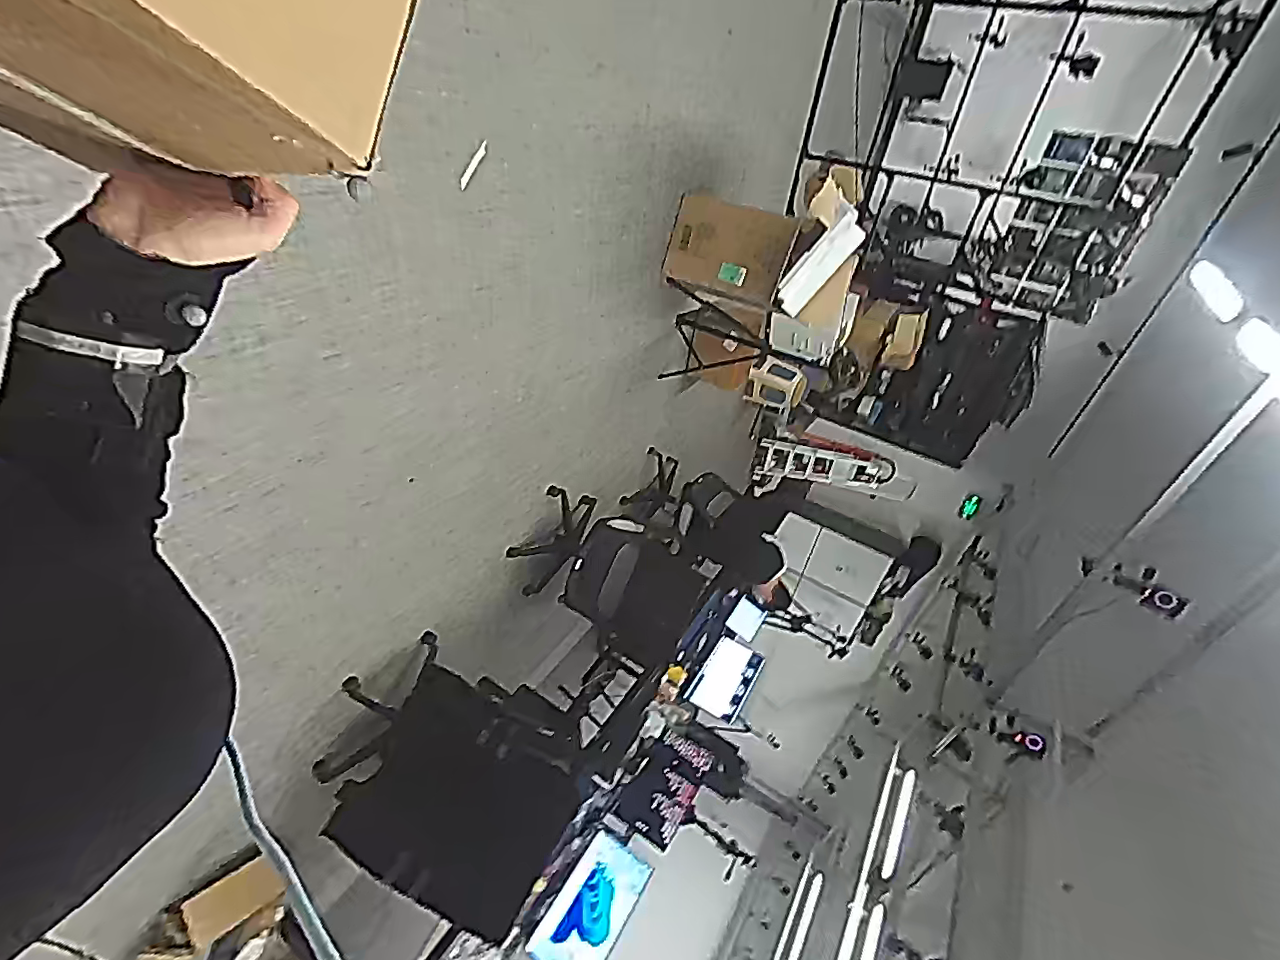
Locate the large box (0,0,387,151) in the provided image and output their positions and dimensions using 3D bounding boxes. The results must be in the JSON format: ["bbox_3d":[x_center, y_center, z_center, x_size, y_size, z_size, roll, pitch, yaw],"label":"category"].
[{"bbox_3d":[-0.310,-0.360,0.135,0.408,0.320,0.320,9,98,-65],"label":"large box"}]
